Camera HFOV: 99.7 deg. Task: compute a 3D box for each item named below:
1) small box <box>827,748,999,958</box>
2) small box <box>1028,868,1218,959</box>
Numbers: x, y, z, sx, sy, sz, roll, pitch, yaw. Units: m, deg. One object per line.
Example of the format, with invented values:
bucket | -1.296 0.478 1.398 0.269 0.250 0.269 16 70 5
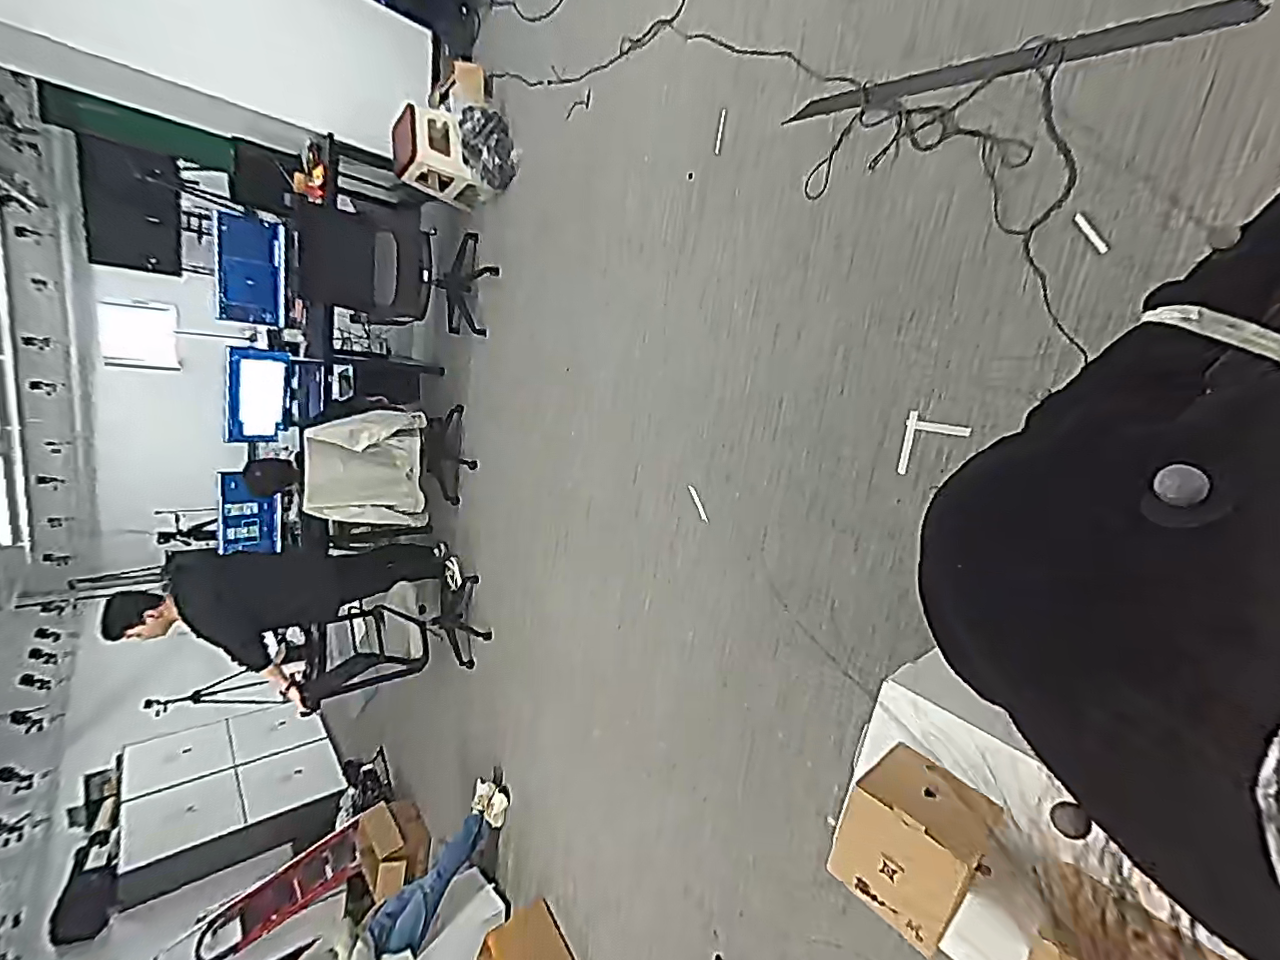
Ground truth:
small box | 0.426 0.558 0.840 0.168 0.176 0.179 25 110 44
small box | 0.586 0.645 0.669 0.168 0.176 0.179 20 107 45
